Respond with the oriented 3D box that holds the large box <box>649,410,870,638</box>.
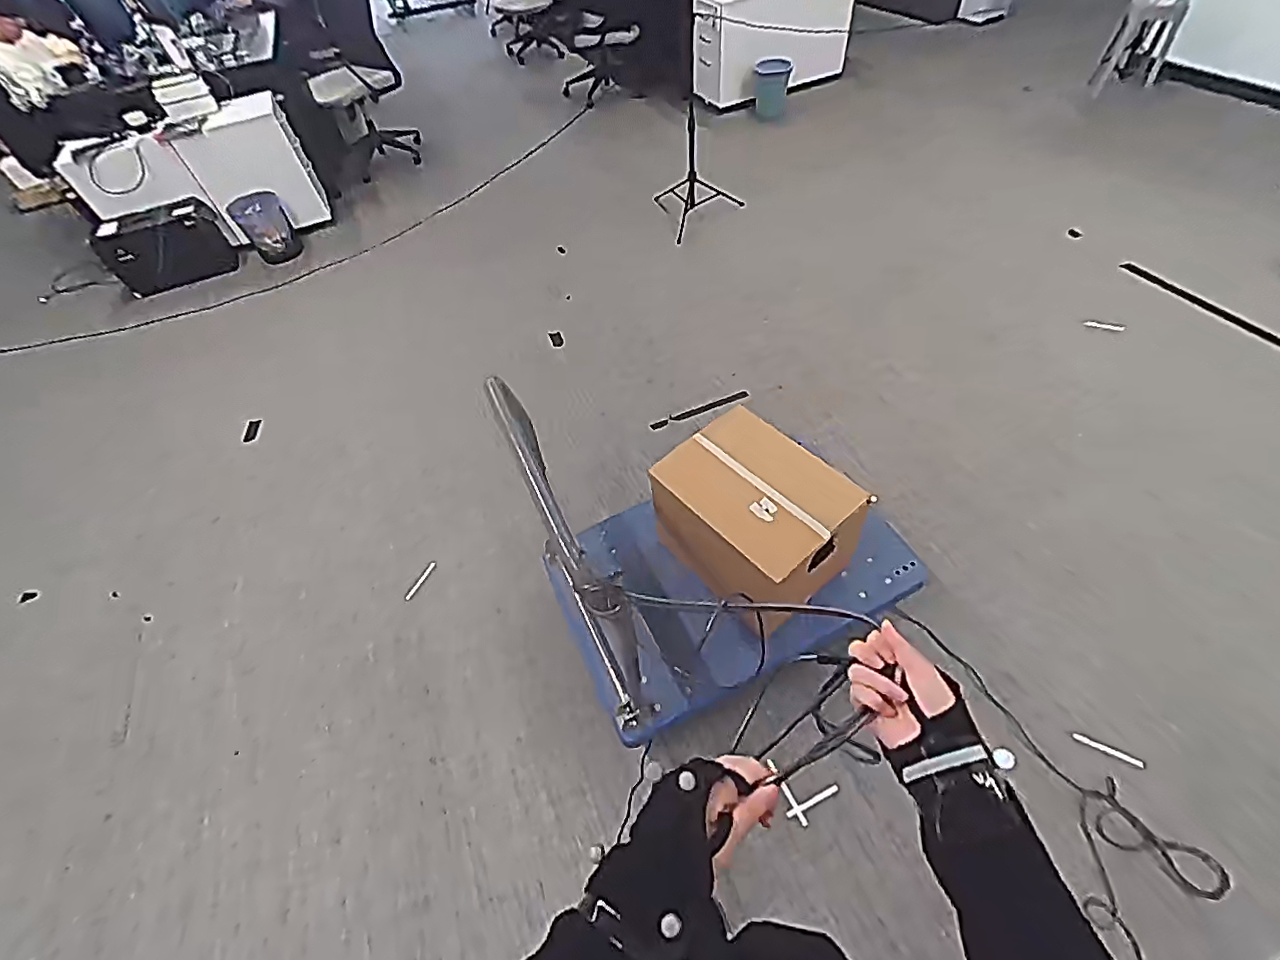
[{"bbox_3d":[0.270,0.105,1.340,0.320,0.320,0.408,-37,58,-19],"label":"large box"}]
